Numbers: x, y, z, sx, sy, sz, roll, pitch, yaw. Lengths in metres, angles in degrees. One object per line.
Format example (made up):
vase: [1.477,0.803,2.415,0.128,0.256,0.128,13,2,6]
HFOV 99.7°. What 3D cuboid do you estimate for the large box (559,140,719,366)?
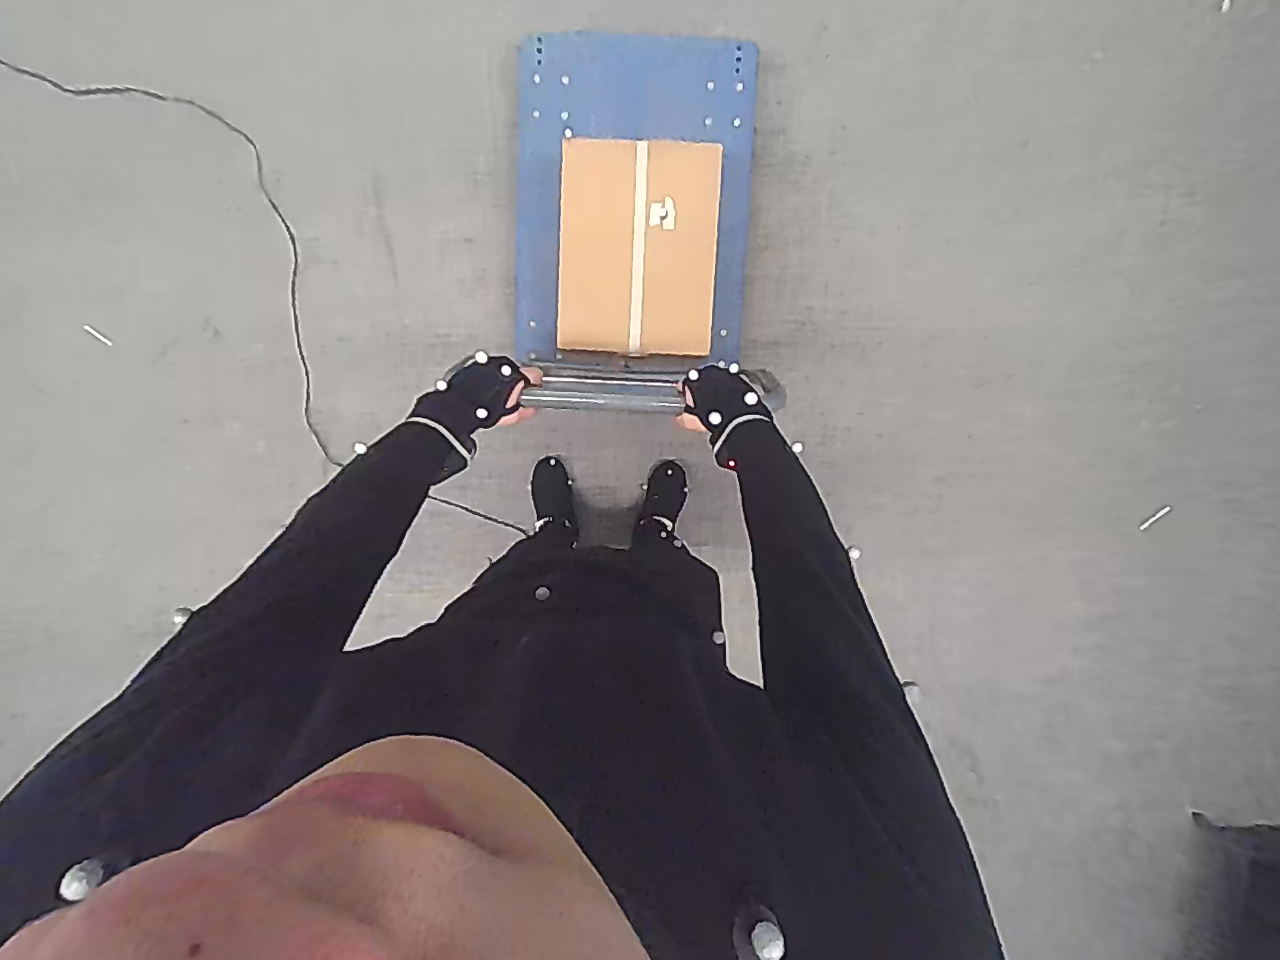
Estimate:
large box: [-0.002,-0.475,1.220,0.320,0.320,0.408,3,97,-1]
